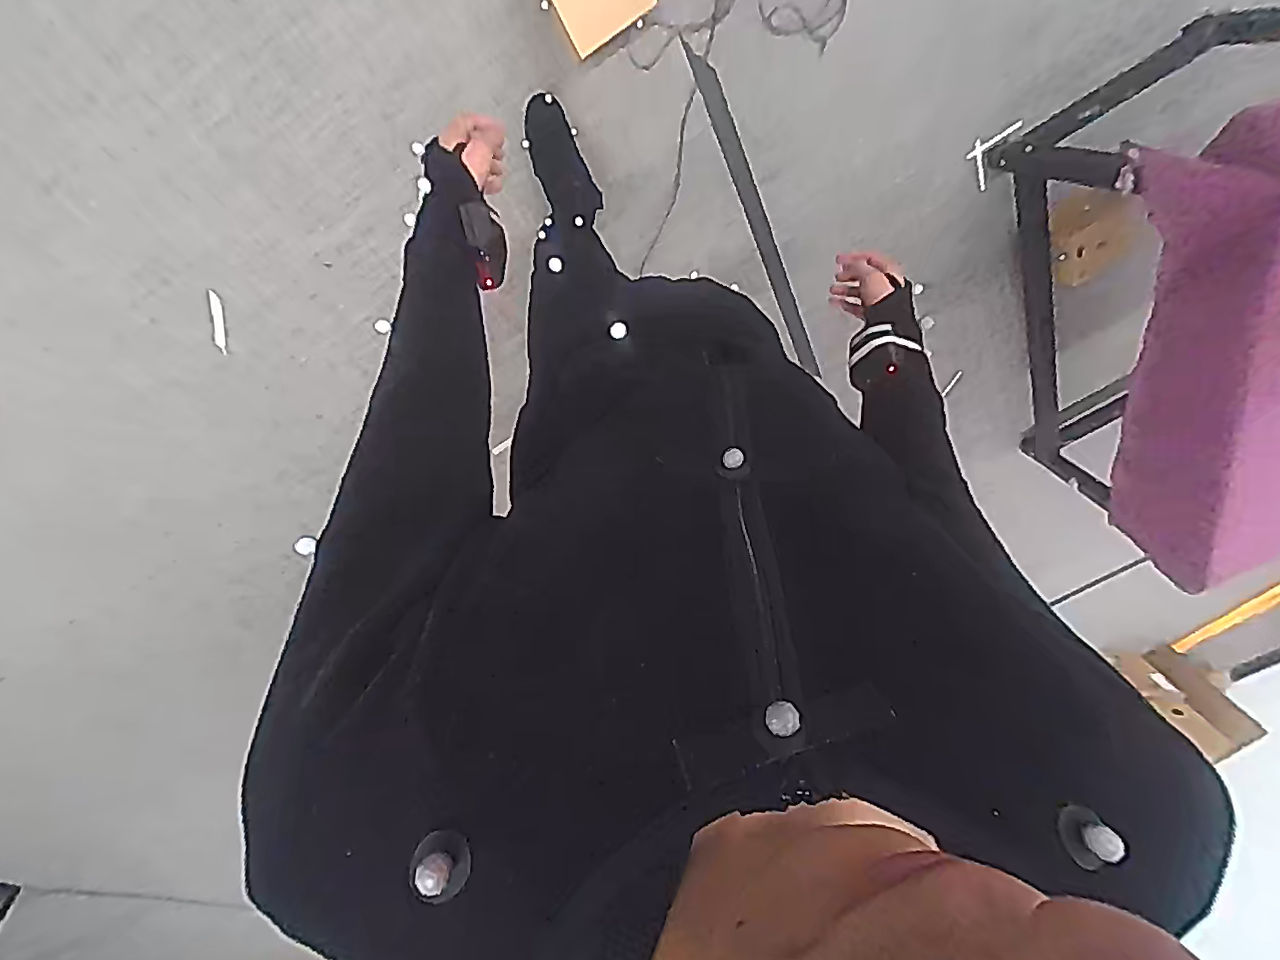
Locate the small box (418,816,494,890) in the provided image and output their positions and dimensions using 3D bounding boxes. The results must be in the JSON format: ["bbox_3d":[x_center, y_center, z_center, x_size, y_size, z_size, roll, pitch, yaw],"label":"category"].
[{"bbox_3d":[-0.612,1.275,1.826,0.179,0.176,0.168,-29,127,10],"label":"small box"}]

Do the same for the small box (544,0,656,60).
[{"bbox_3d":[-0.093,-0.951,1.046,0.179,0.176,0.168,-31,126,10],"label":"small box"}]
